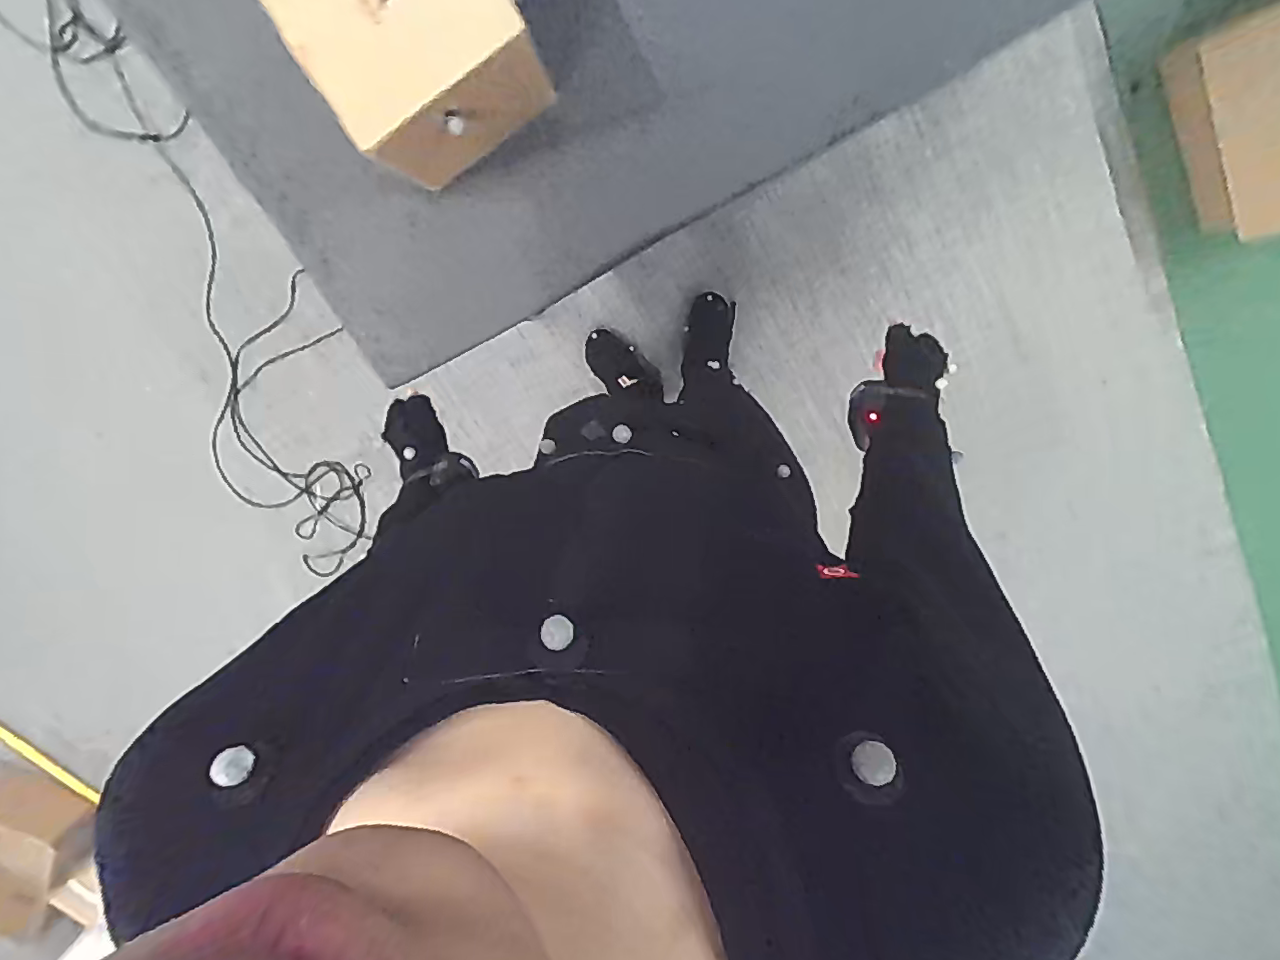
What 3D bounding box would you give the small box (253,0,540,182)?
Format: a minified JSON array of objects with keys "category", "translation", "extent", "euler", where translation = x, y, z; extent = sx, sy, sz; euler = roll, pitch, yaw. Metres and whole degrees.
[{"category":"small box","translation":[-0.210,-0.415,0.504],"extent":[0.179,0.176,0.168],"euler":[-30,106,12]}]
